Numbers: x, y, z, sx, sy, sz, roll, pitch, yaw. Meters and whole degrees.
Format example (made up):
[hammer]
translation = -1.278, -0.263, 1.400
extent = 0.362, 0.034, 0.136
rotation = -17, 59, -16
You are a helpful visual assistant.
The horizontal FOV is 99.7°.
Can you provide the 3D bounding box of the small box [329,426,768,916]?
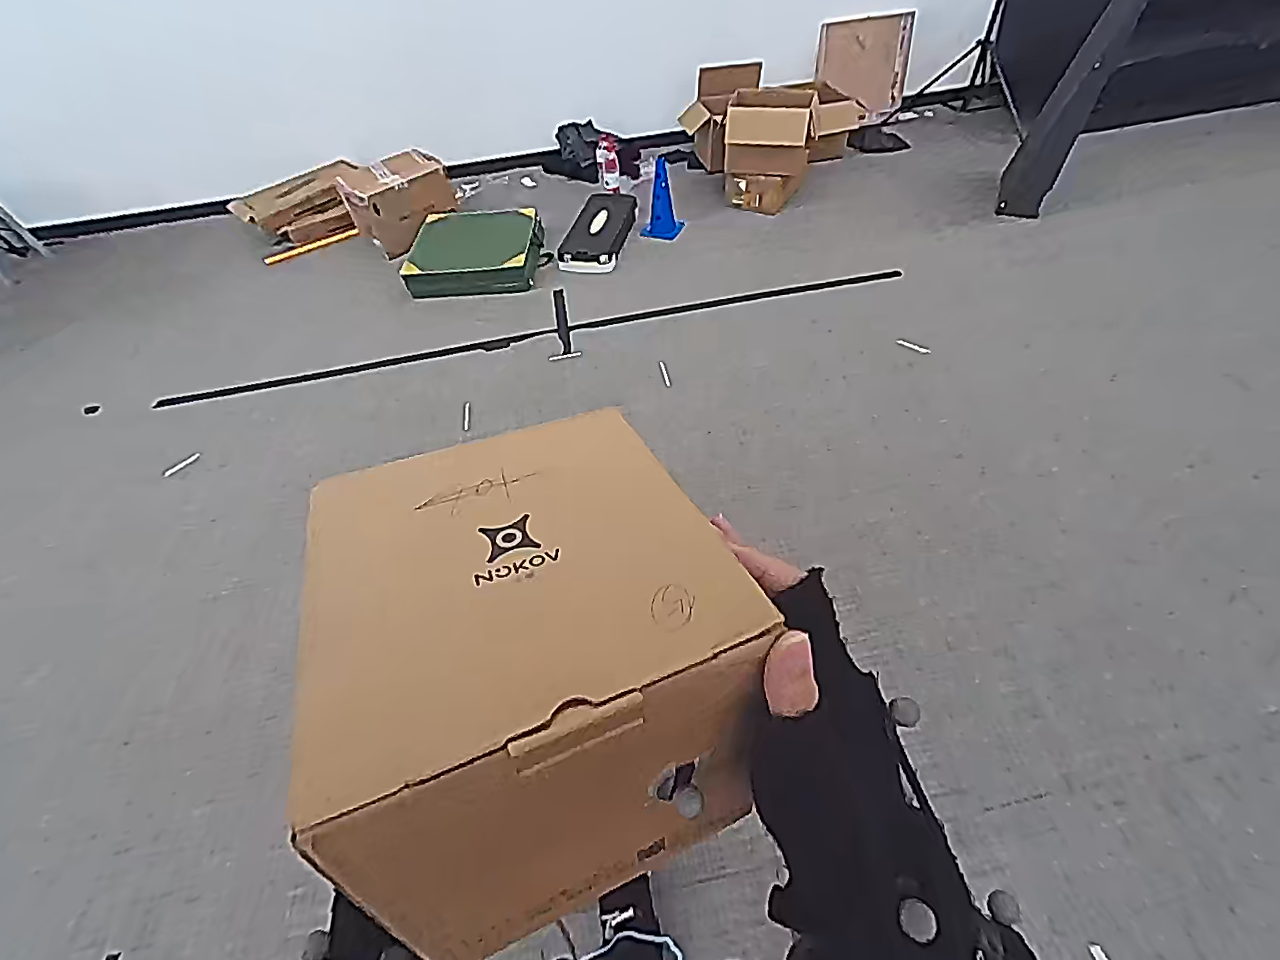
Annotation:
[small box]
translation = -0.051, 0.099, 0.301
extent = 0.168, 0.176, 0.179
rotation = -16, 39, -17
